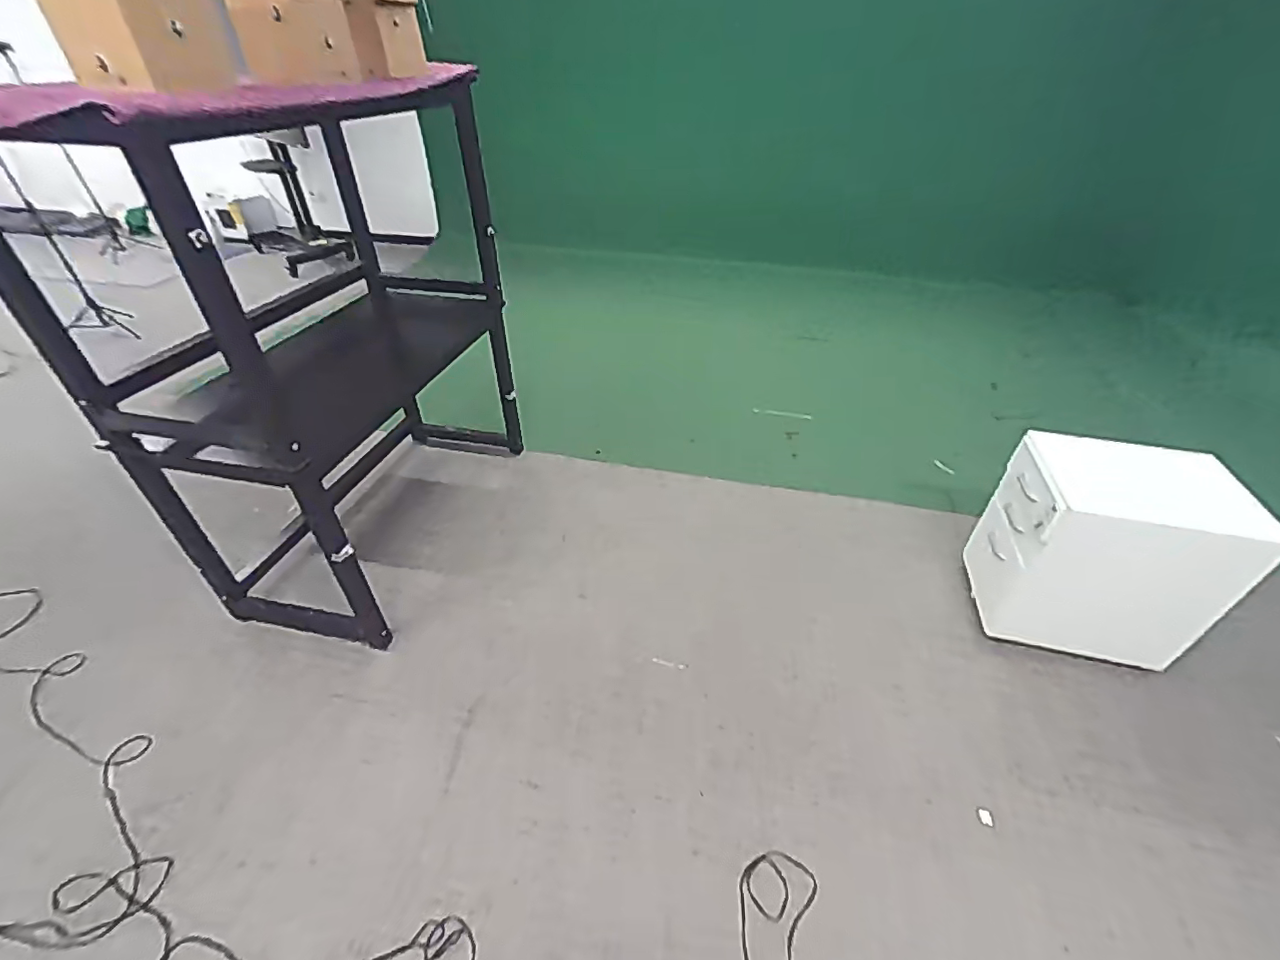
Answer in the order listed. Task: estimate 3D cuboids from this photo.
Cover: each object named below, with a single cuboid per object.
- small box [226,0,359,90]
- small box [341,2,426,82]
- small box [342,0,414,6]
[{"bbox_3d":[-0.791,-1.012,1.251,0.179,0.176,0.168,10,38,12],"label":"small box"},{"bbox_3d":[-0.738,-1.236,1.532,0.168,0.176,0.179,11,40,15],"label":"small box"},{"bbox_3d":[-0.728,-1.359,1.425,0.168,0.176,0.179,8,40,12],"label":"small box"}]
